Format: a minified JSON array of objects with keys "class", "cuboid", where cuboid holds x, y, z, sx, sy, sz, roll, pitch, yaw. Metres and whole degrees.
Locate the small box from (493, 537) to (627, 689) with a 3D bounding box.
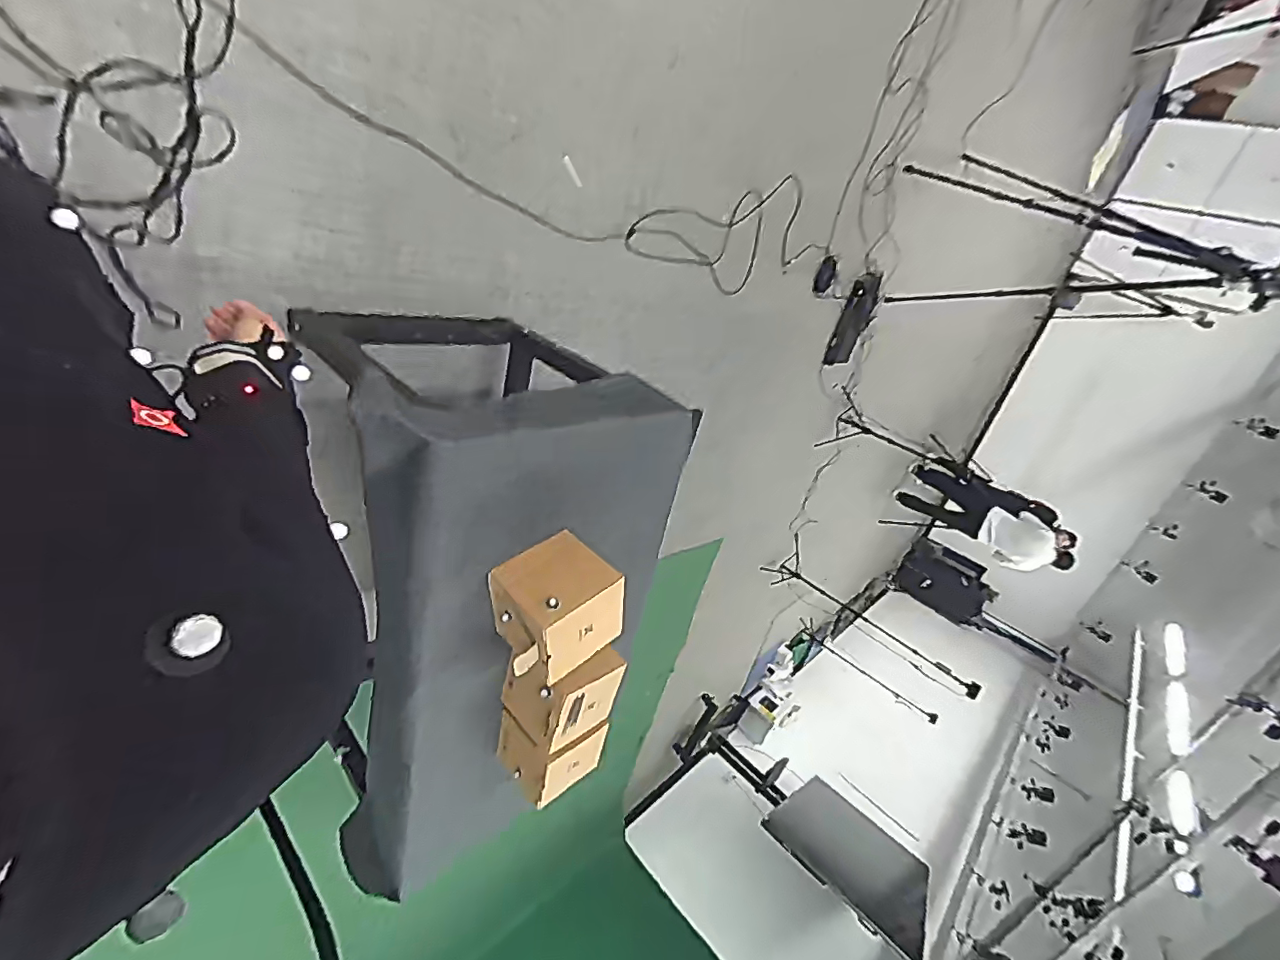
[{"class":"small box","cuboid":[-0.147,0.235,0.998,0.179,0.176,0.168,-29,138,-35]}]
